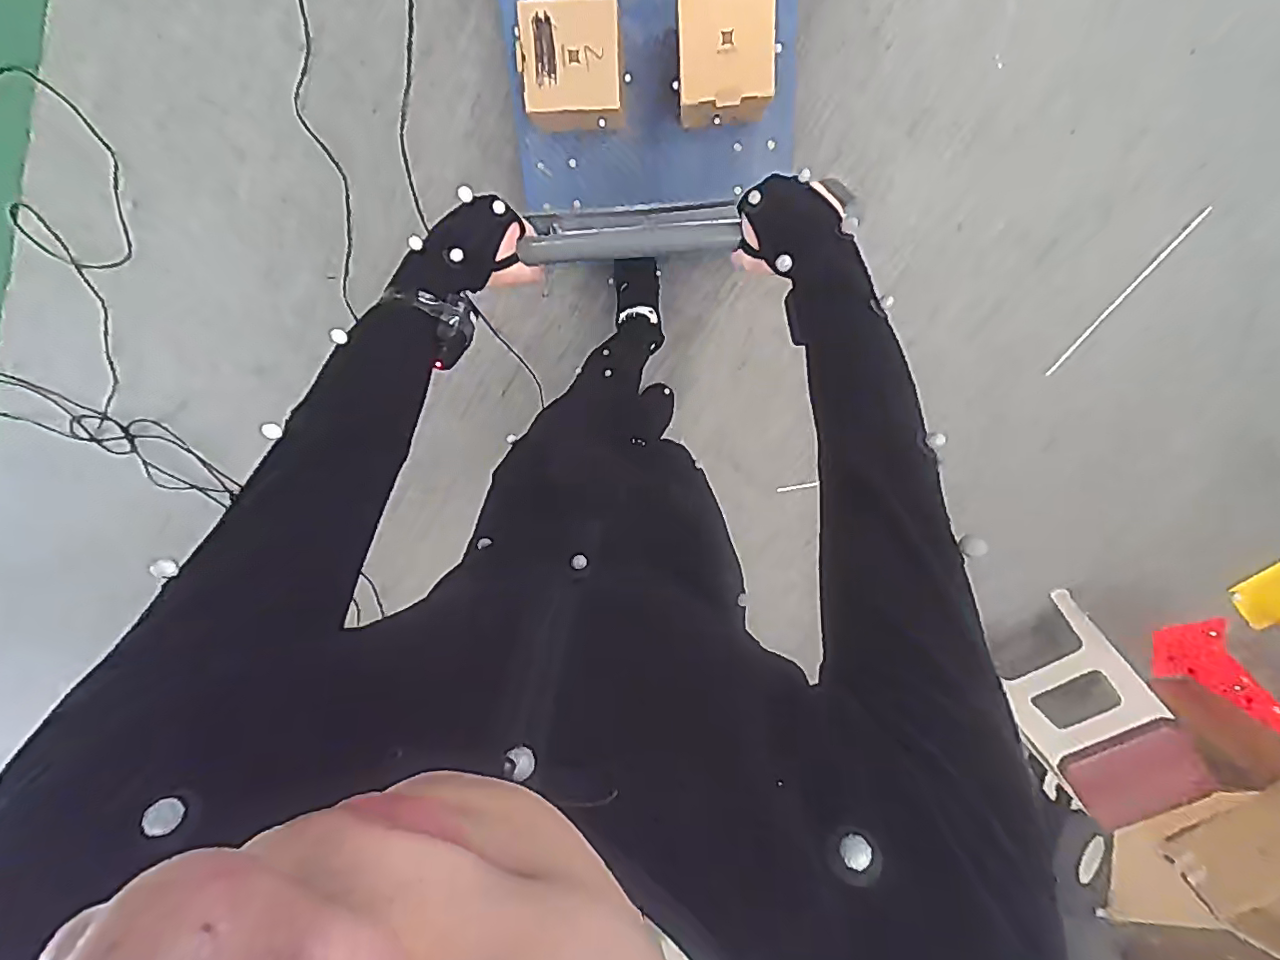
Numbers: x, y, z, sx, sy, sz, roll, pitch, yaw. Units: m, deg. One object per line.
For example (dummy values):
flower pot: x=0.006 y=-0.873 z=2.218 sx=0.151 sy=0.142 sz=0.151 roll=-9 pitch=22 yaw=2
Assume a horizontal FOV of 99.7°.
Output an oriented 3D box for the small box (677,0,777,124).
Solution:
small box: x=0.155 y=-0.788 z=1.003 sx=0.168 sy=0.176 sz=0.179 roll=-3 pitch=113 yaw=5
